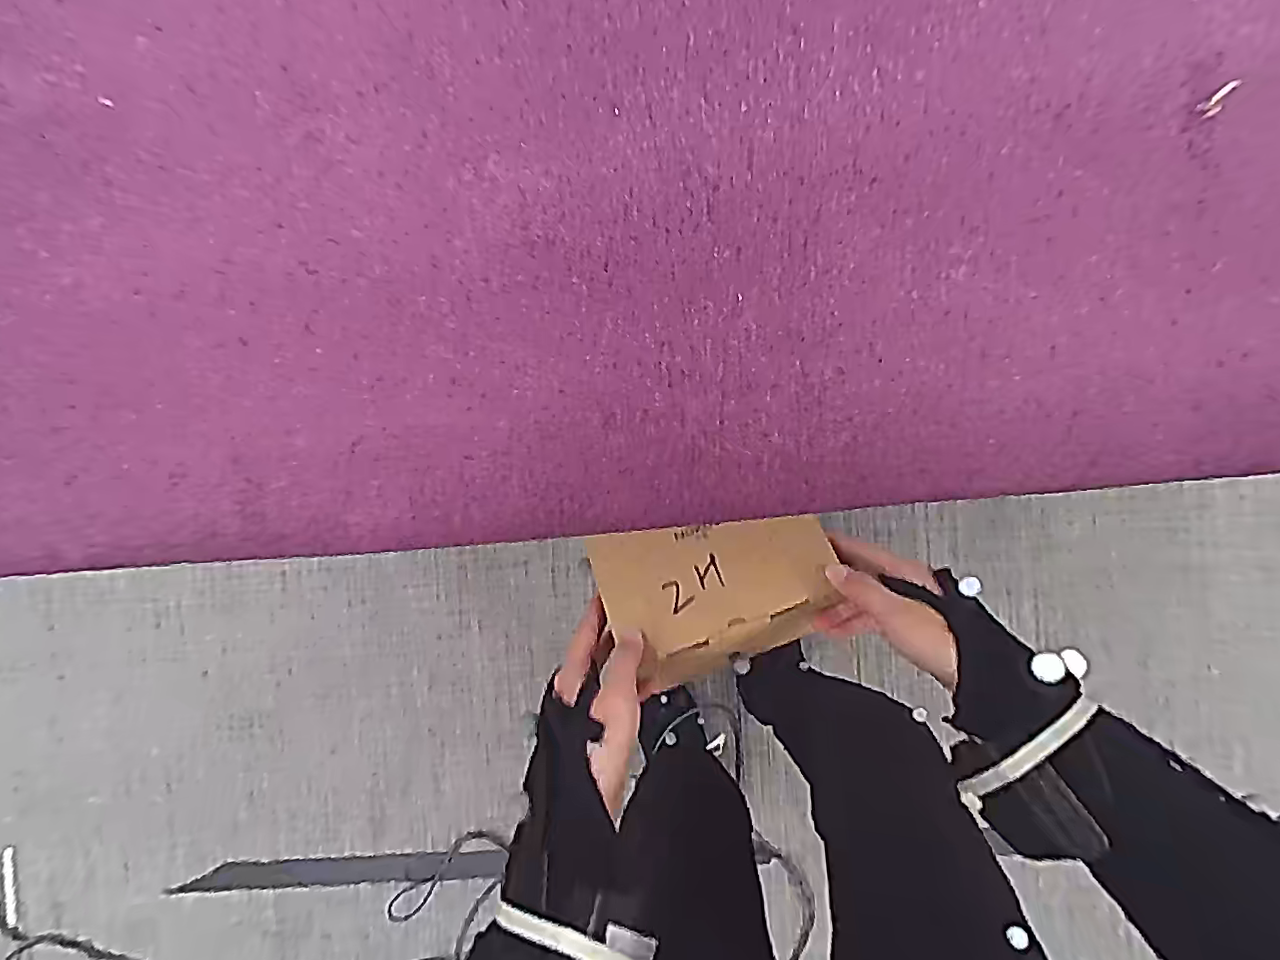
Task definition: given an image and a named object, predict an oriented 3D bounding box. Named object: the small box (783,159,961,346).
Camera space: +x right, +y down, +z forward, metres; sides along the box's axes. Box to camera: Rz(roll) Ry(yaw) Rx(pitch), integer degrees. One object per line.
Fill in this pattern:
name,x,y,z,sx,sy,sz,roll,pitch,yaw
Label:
small box,0.293,-0.287,0.715,0.168,0.176,0.179,-4,93,1
